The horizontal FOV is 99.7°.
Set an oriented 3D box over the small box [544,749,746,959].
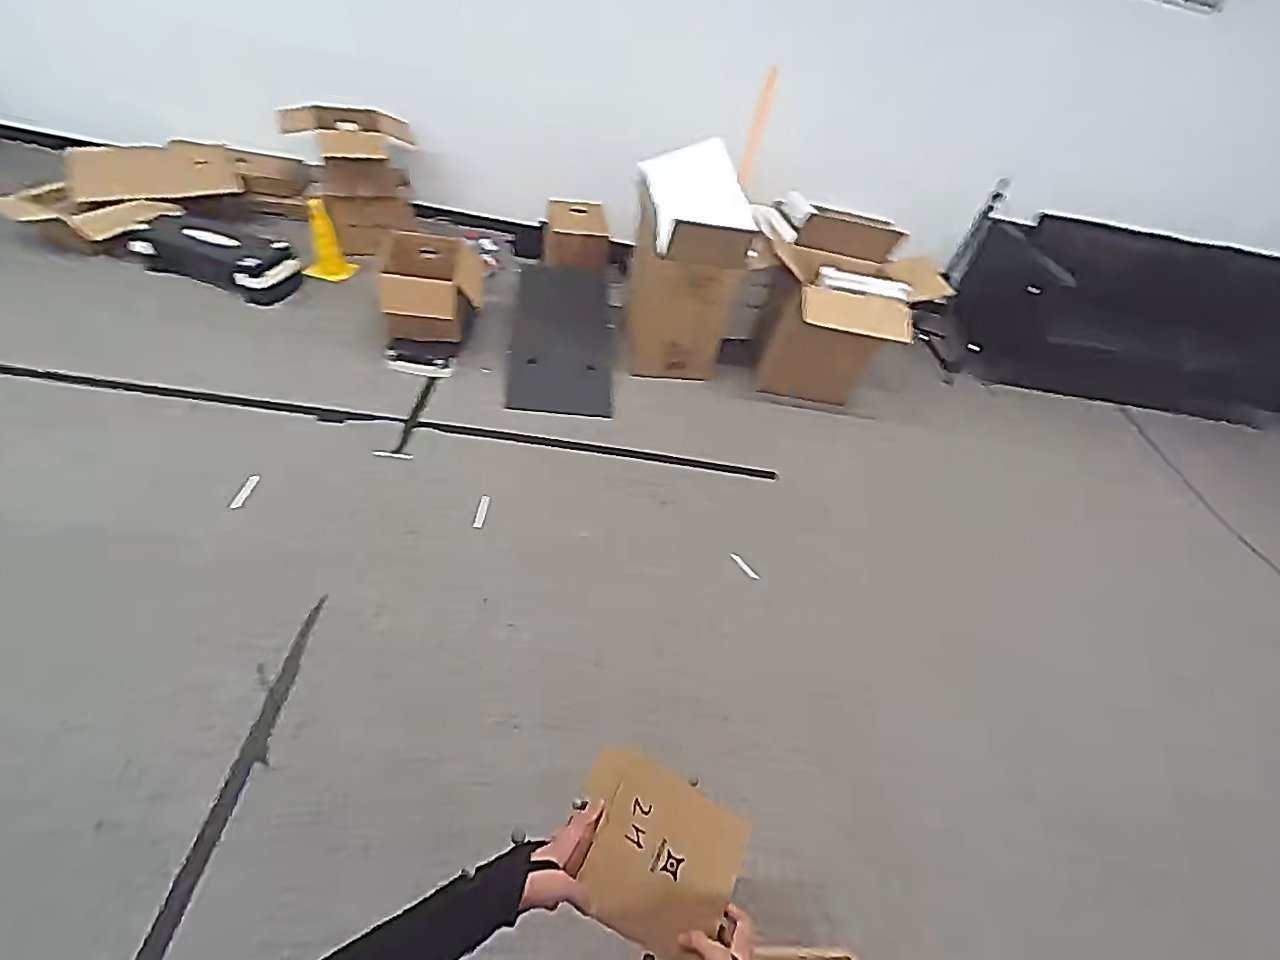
[{"bbox_3d":[-0.001,0.461,0.687,0.179,0.176,0.168,32,60,-1],"label":"small box"}]
